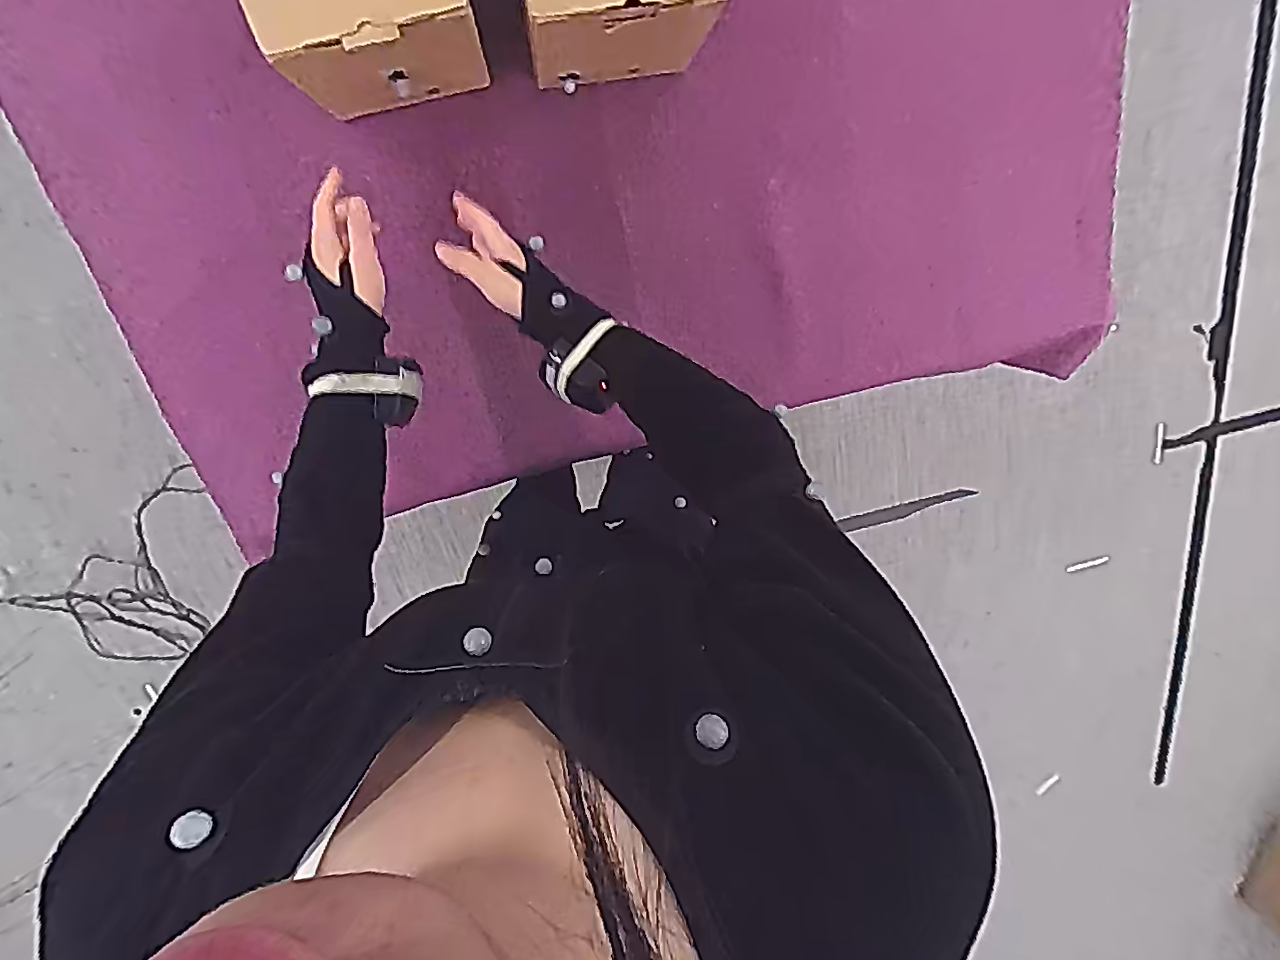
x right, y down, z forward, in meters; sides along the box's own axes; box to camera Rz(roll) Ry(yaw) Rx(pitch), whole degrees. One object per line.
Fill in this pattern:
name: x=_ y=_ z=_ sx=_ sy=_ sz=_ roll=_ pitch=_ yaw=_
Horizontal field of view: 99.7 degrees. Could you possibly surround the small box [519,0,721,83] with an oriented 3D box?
small box: x=-0.032 y=-0.488 z=0.488 sx=0.168 sy=0.176 sz=0.179 roll=-11 pitch=110 yaw=-5
